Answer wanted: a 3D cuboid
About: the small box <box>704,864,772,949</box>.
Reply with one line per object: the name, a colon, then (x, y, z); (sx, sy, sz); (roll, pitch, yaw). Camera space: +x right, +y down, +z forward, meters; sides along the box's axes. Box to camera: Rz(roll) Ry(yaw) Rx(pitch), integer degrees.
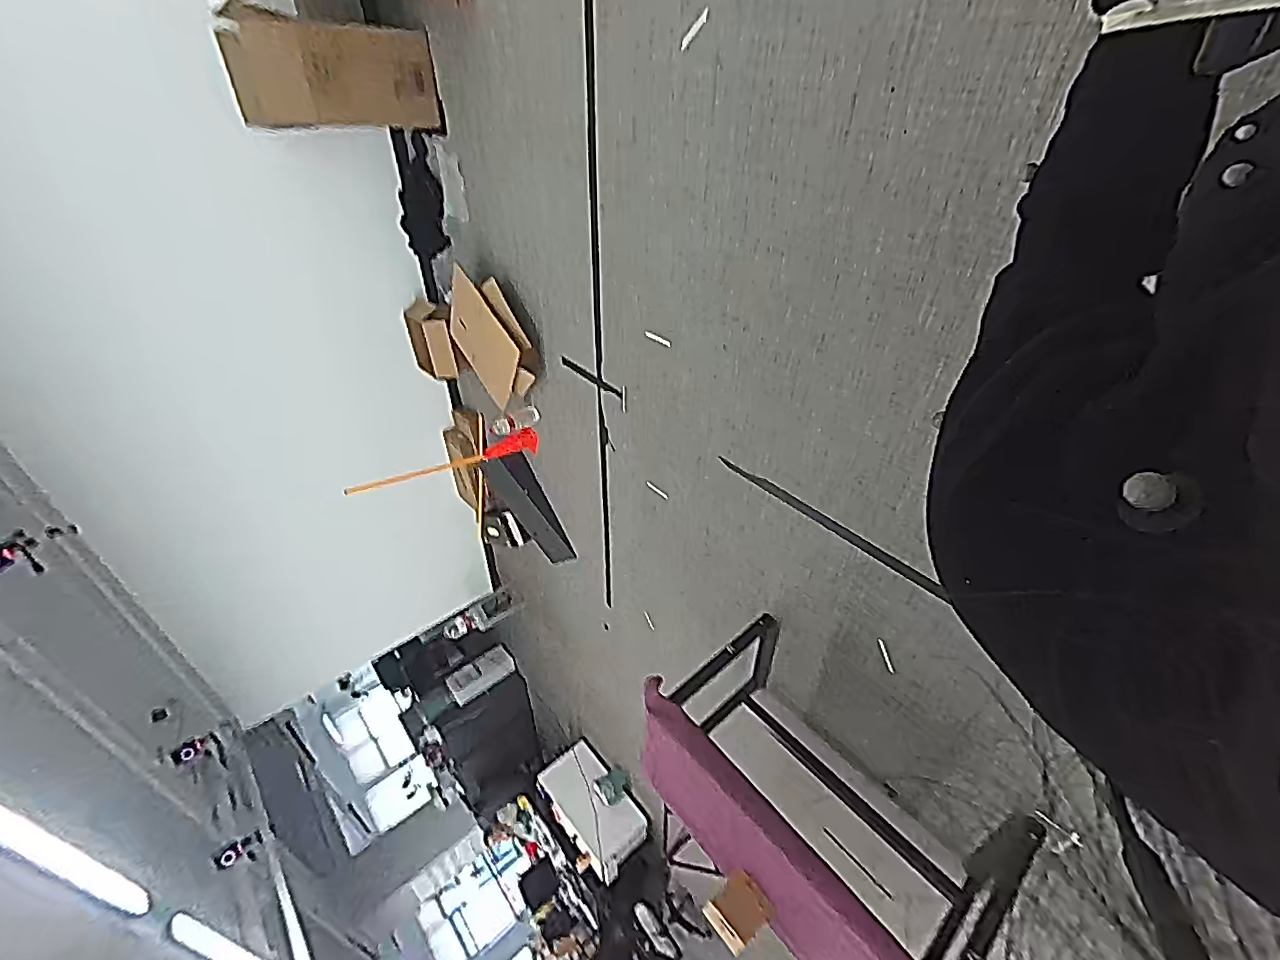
small box: (0.362, 1.566, 1.995); (0.168, 0.176, 0.179); (39, 141, 33)
